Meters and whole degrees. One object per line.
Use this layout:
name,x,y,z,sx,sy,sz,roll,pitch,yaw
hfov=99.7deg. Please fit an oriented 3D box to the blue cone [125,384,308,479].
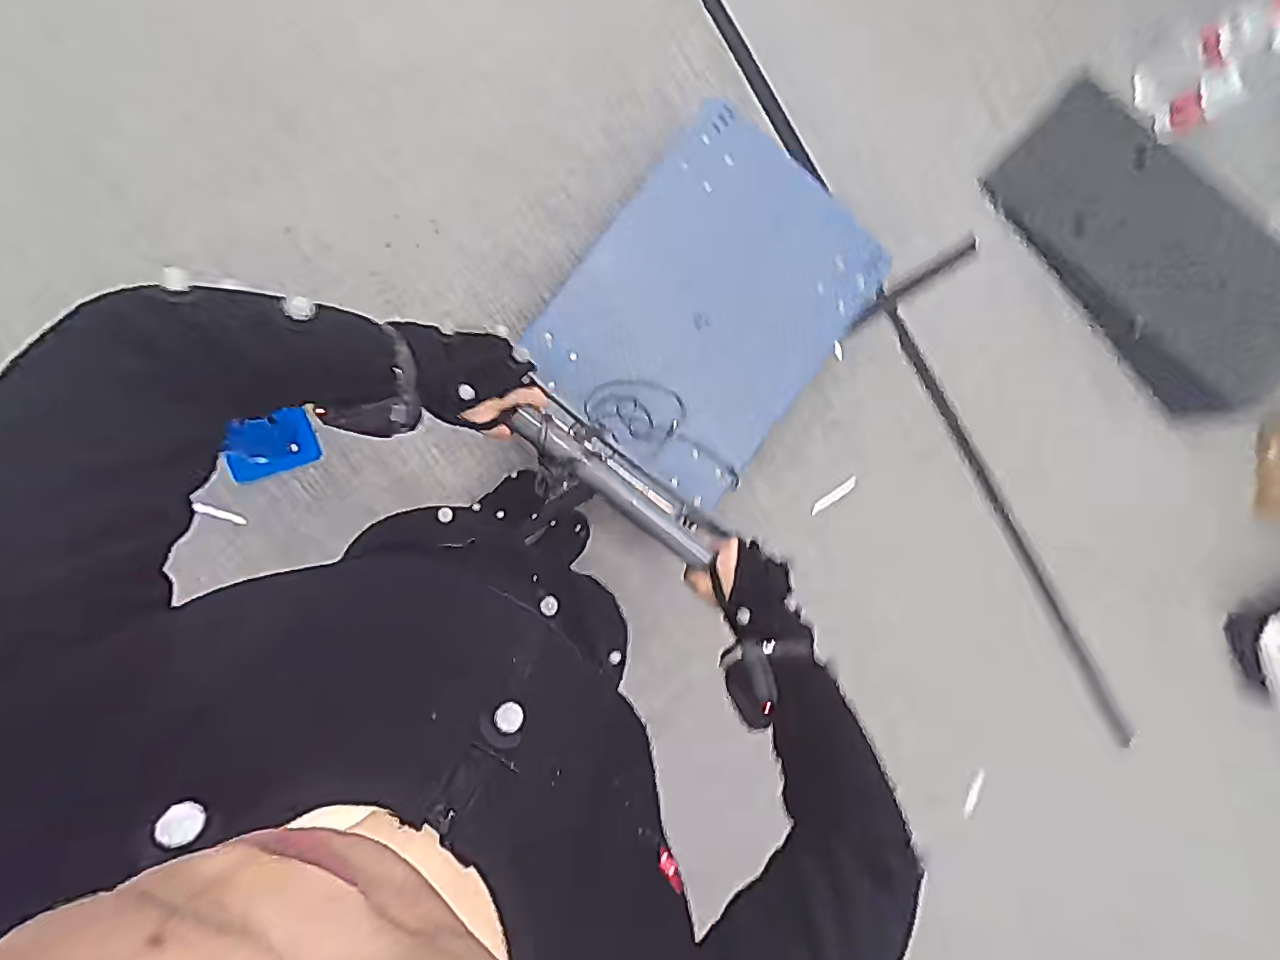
blue cone,-0.848,-0.107,1.073,0.192,0.380,0.193,-17,95,-8
